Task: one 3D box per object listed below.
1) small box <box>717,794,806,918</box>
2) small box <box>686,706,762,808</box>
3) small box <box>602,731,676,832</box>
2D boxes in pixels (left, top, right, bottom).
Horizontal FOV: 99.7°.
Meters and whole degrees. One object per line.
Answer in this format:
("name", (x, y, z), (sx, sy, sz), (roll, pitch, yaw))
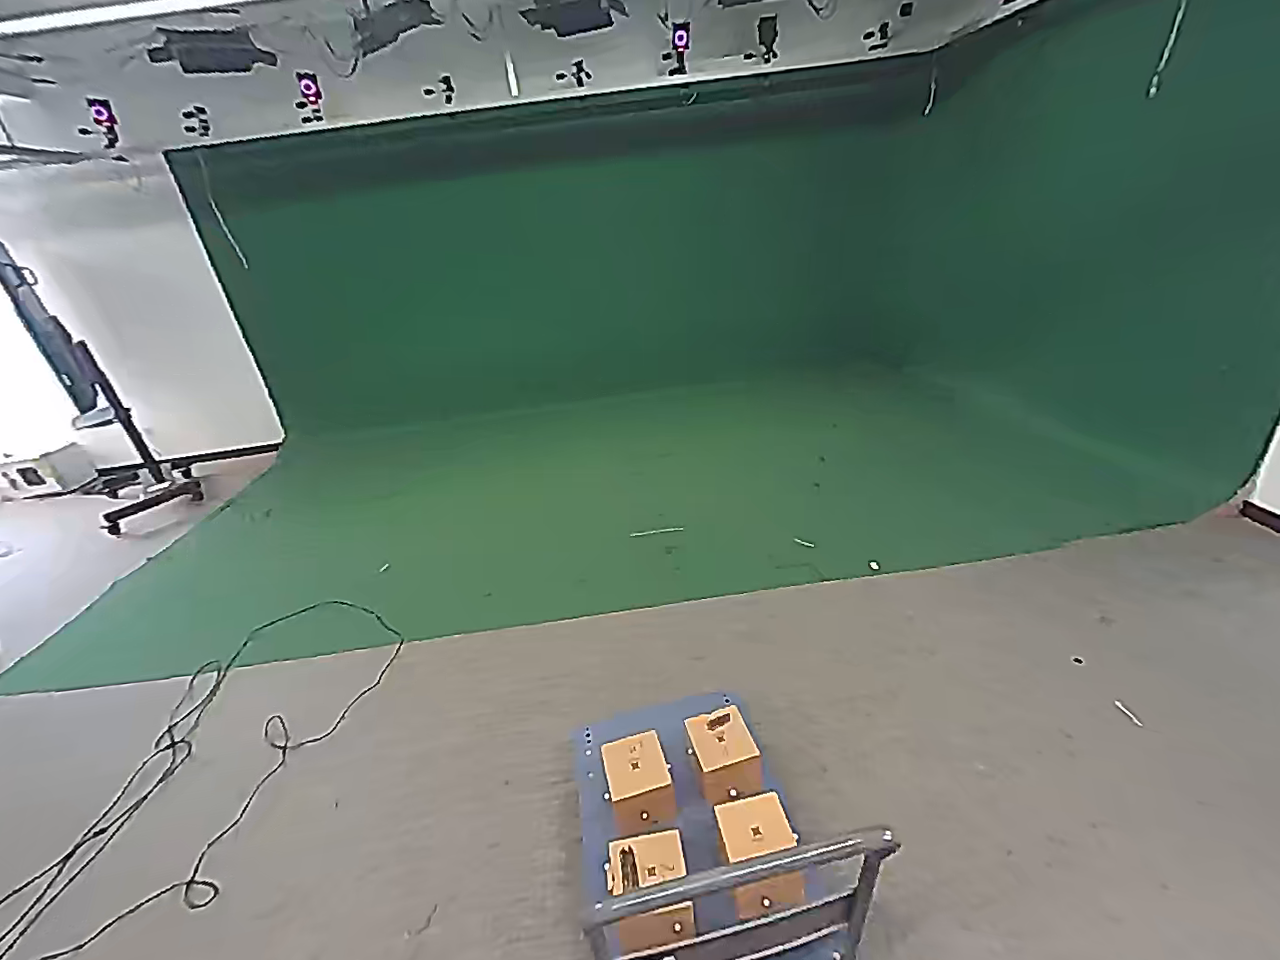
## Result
("small box", (0.291, 0.918, 1.325), (0.168, 0.176, 0.179), (-10, 28, -6))
("small box", (0.240, 0.799, 1.563), (0.168, 0.176, 0.179), (-13, 29, -9))
("small box", (-0.002, 0.852, 1.519), (0.168, 0.176, 0.179), (-11, 28, -10))
